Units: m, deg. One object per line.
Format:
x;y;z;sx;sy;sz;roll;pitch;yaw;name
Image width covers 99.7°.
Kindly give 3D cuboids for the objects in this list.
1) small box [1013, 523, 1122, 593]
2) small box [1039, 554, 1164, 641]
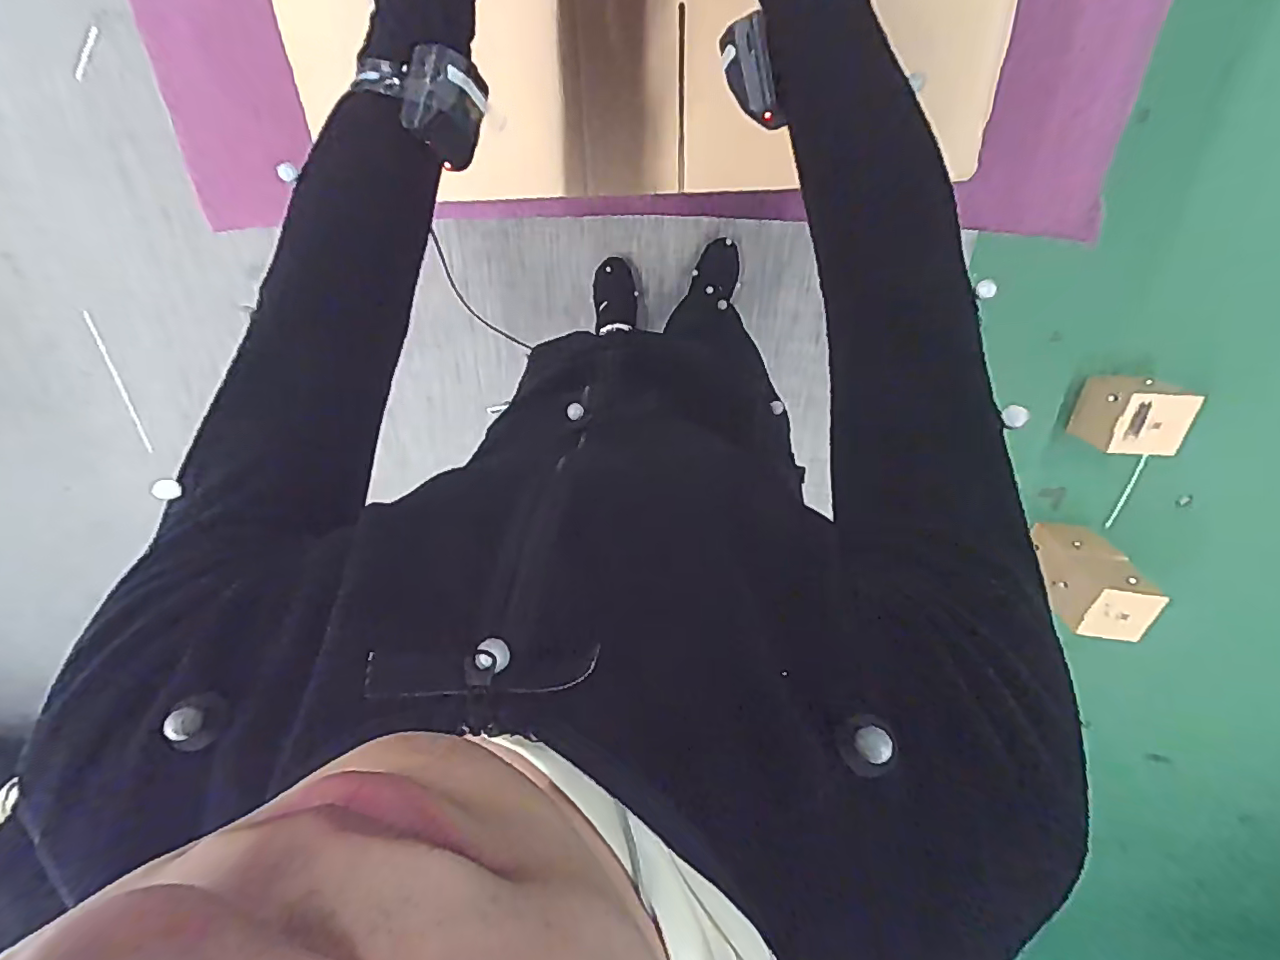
1.320;0.249;1.685;0.179;0.176;0.168;6;119;2;small box
1.303;0.330;1.542;0.179;0.176;0.168;8;119;1;small box
